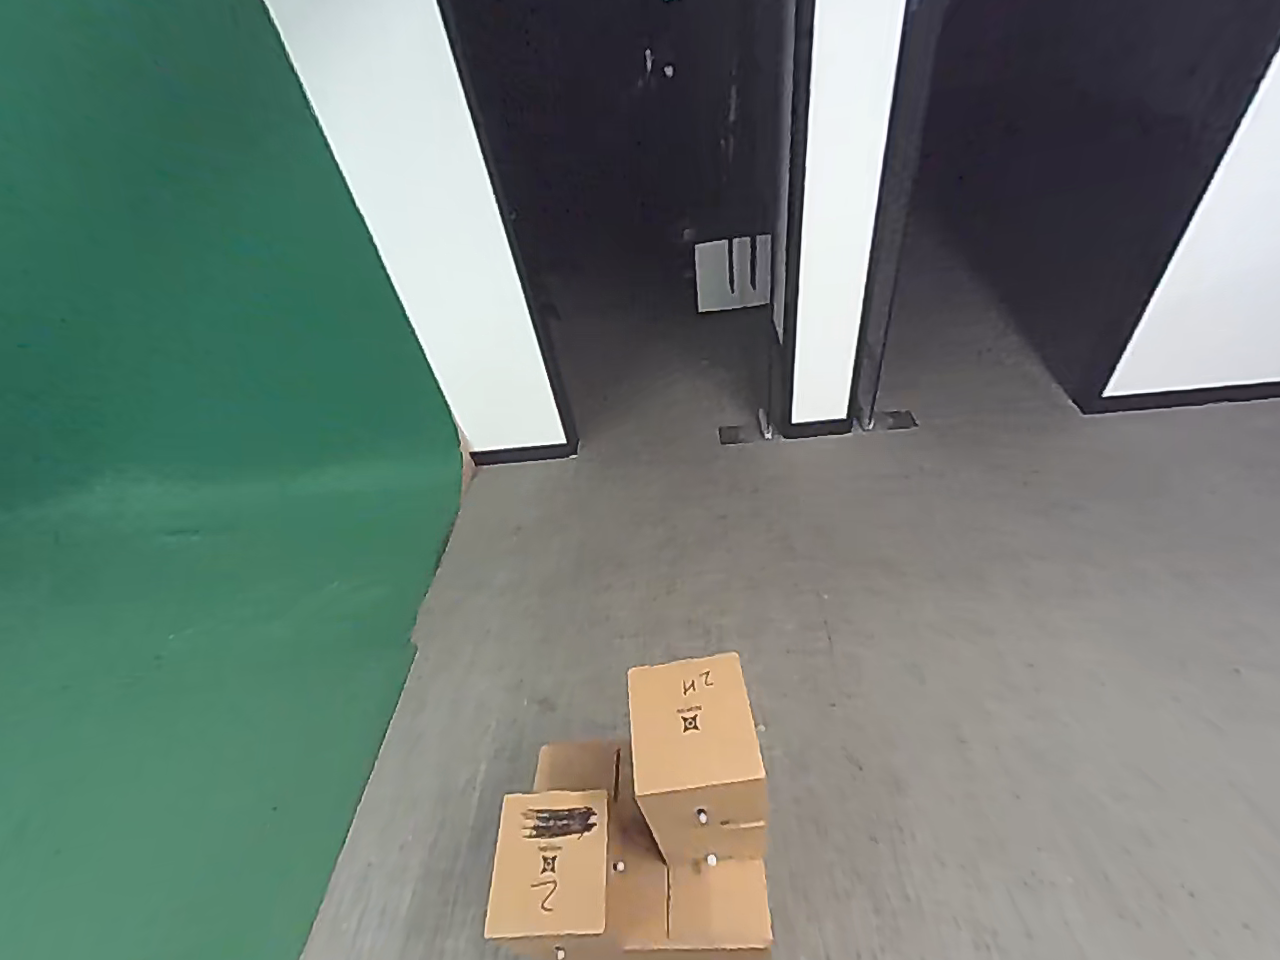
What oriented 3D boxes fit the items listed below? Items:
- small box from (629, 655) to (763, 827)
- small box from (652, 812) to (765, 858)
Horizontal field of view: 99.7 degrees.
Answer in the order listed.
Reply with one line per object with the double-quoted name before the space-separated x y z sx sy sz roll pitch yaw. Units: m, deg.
"small box" 0.082 0.385 0.789 0.168 0.176 0.179 -9 42 4
"small box" 0.111 0.503 0.899 0.168 0.176 0.179 -8 44 7
